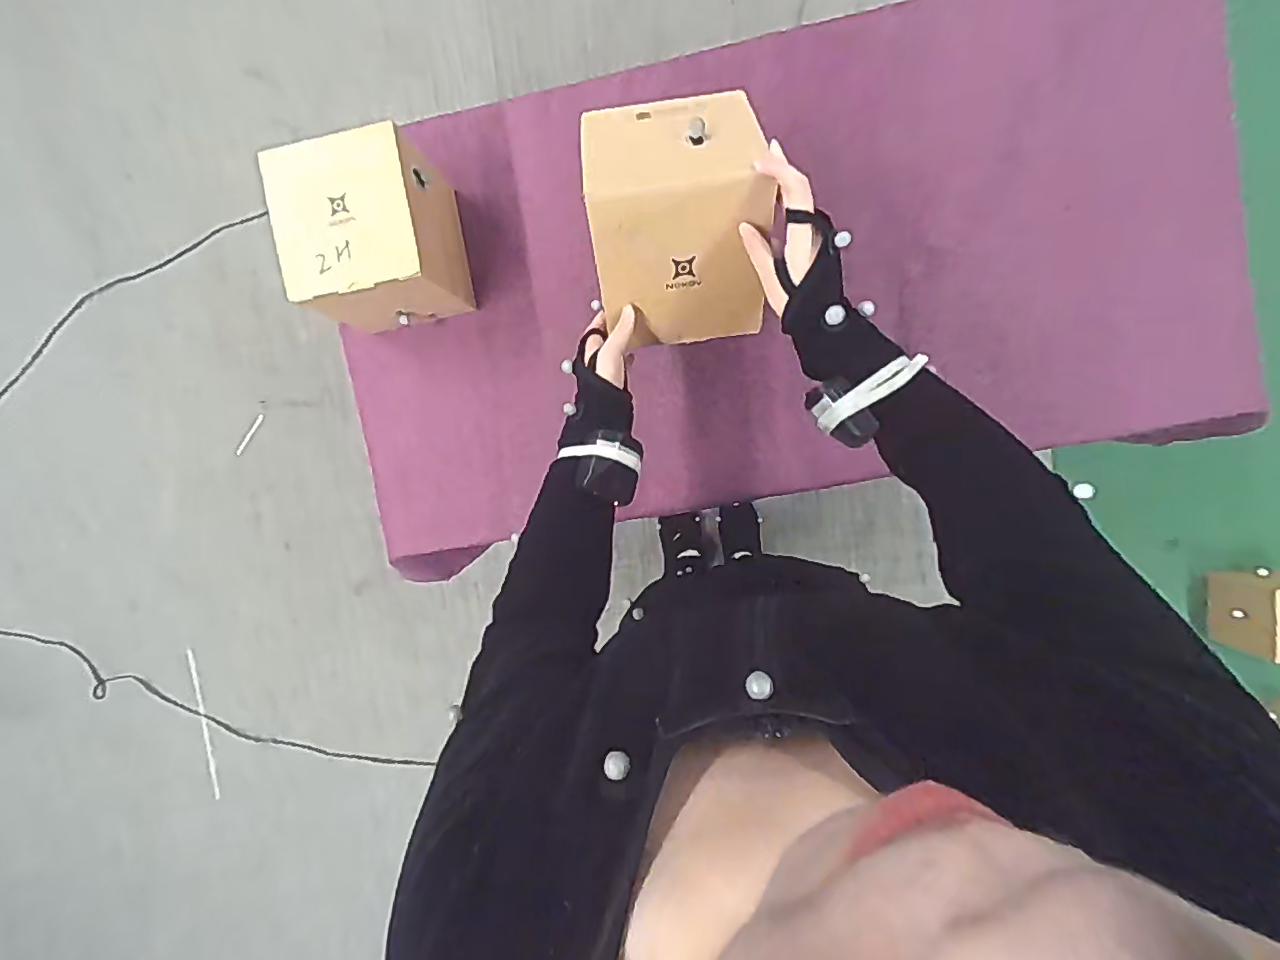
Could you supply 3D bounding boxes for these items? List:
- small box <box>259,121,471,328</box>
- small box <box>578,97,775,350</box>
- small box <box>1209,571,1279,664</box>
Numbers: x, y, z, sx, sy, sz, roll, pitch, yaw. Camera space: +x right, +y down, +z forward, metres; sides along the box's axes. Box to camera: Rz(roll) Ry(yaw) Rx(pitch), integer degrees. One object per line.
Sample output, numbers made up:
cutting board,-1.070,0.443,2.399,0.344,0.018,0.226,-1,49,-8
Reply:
small box,-0.338,-0.312,0.696,0.168,0.176,0.179,-9,94,6
small box,0.031,-0.265,0.559,0.168,0.179,0.176,-7,57,2
small box,1.541,0.328,1.309,0.168,0.176,0.179,-4,92,5
